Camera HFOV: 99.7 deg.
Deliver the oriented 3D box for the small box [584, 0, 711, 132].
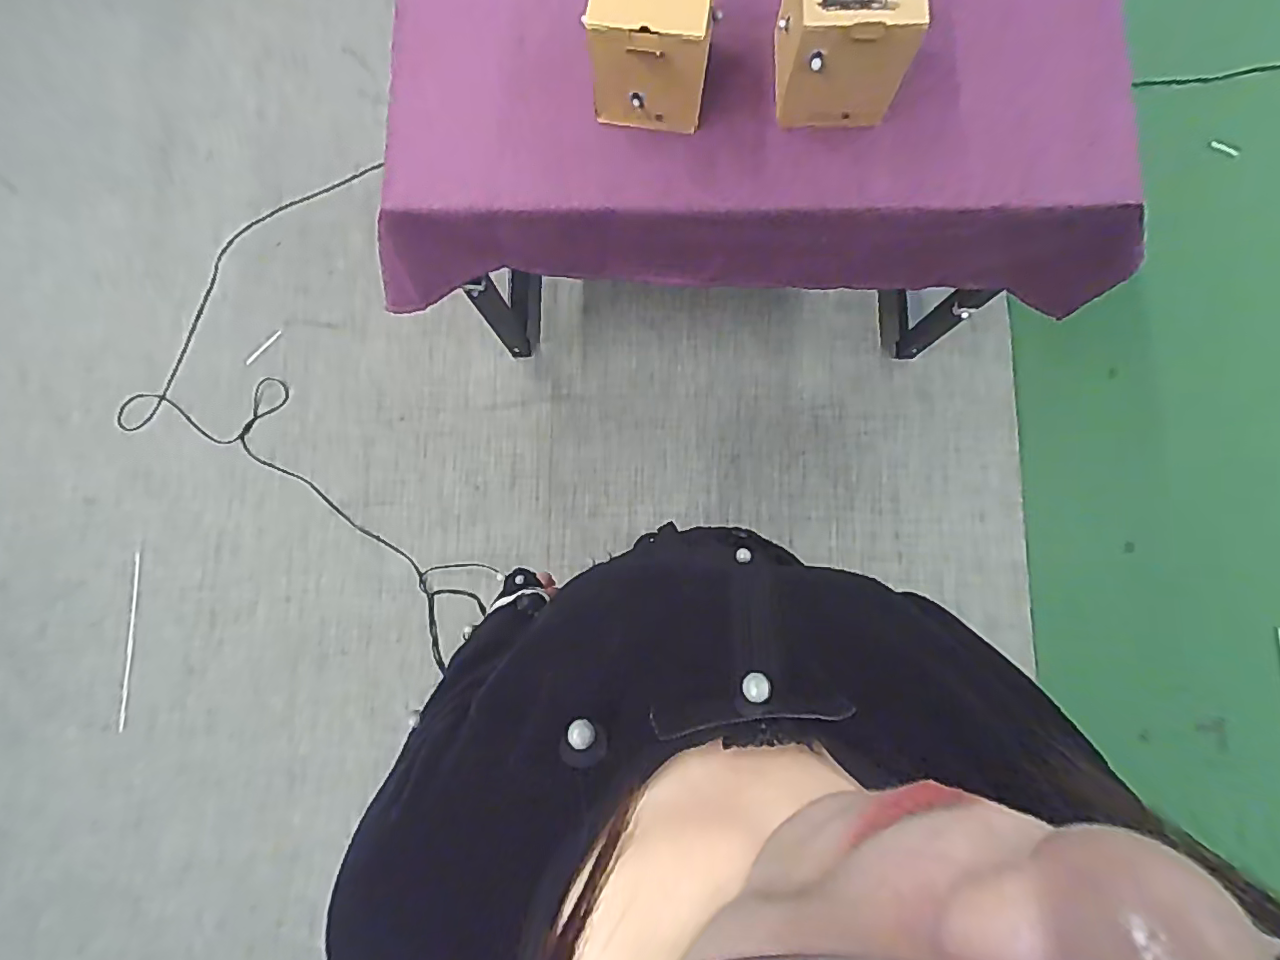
[{"bbox_3d":[0.017,-0.680,0.824,0.168,0.176,0.179,8,84,3],"label":"small box"}]
